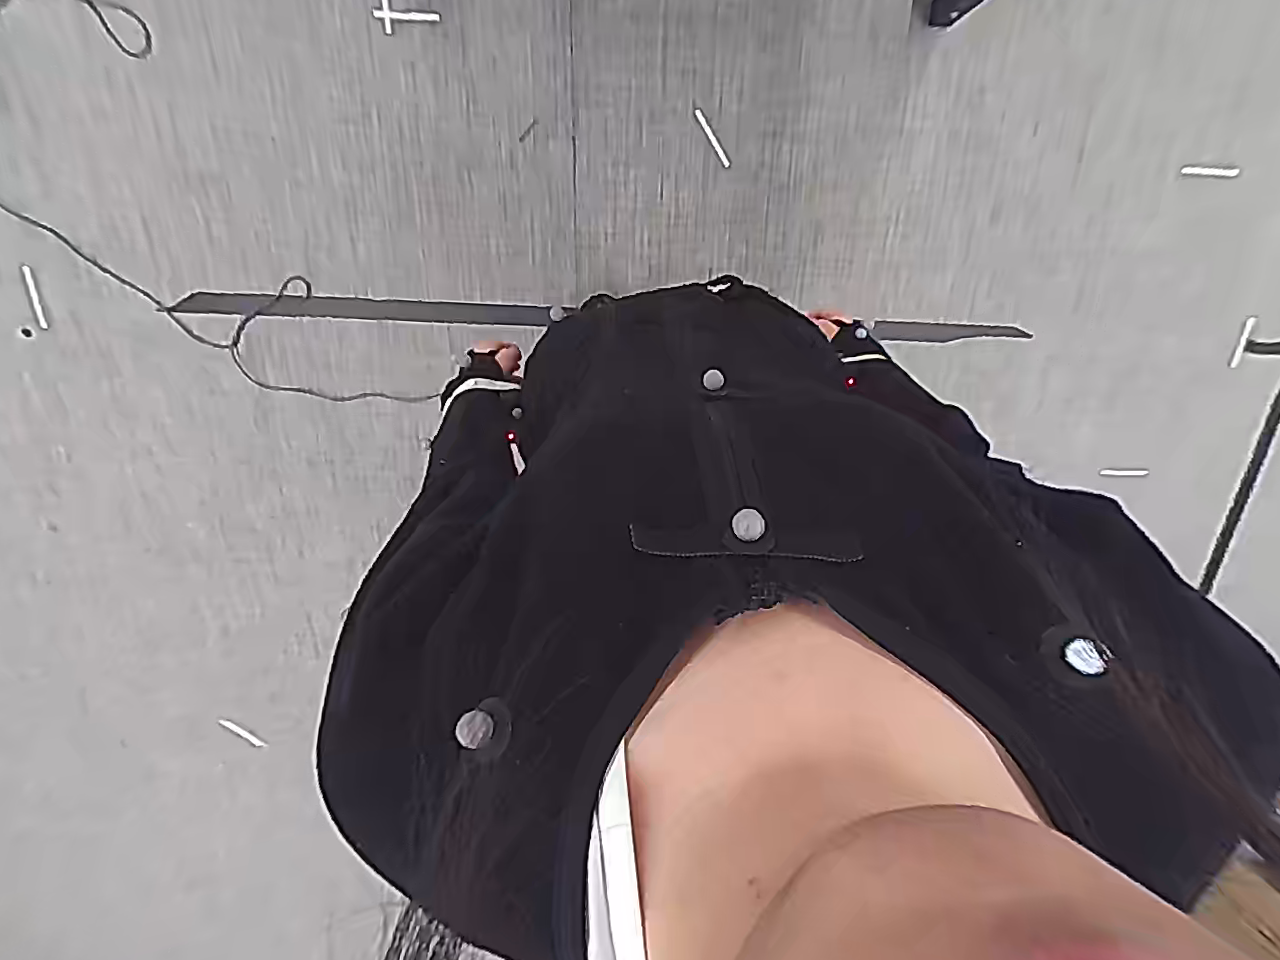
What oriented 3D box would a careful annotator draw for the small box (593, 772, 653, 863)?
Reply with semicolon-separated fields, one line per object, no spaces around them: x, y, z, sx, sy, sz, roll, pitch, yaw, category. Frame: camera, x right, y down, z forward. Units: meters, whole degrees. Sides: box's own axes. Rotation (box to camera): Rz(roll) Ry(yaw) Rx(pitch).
-0.049;1.010;1.614;0.168;0.176;0.179;-5;110;-2;small box

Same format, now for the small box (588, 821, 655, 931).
-0.049;1.063;1.458;0.168;0.176;0.179;-5;109;-2;small box

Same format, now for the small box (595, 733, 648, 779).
-0.061;0.952;1.767;0.168;0.176;0.179;-3;109;-3;small box
